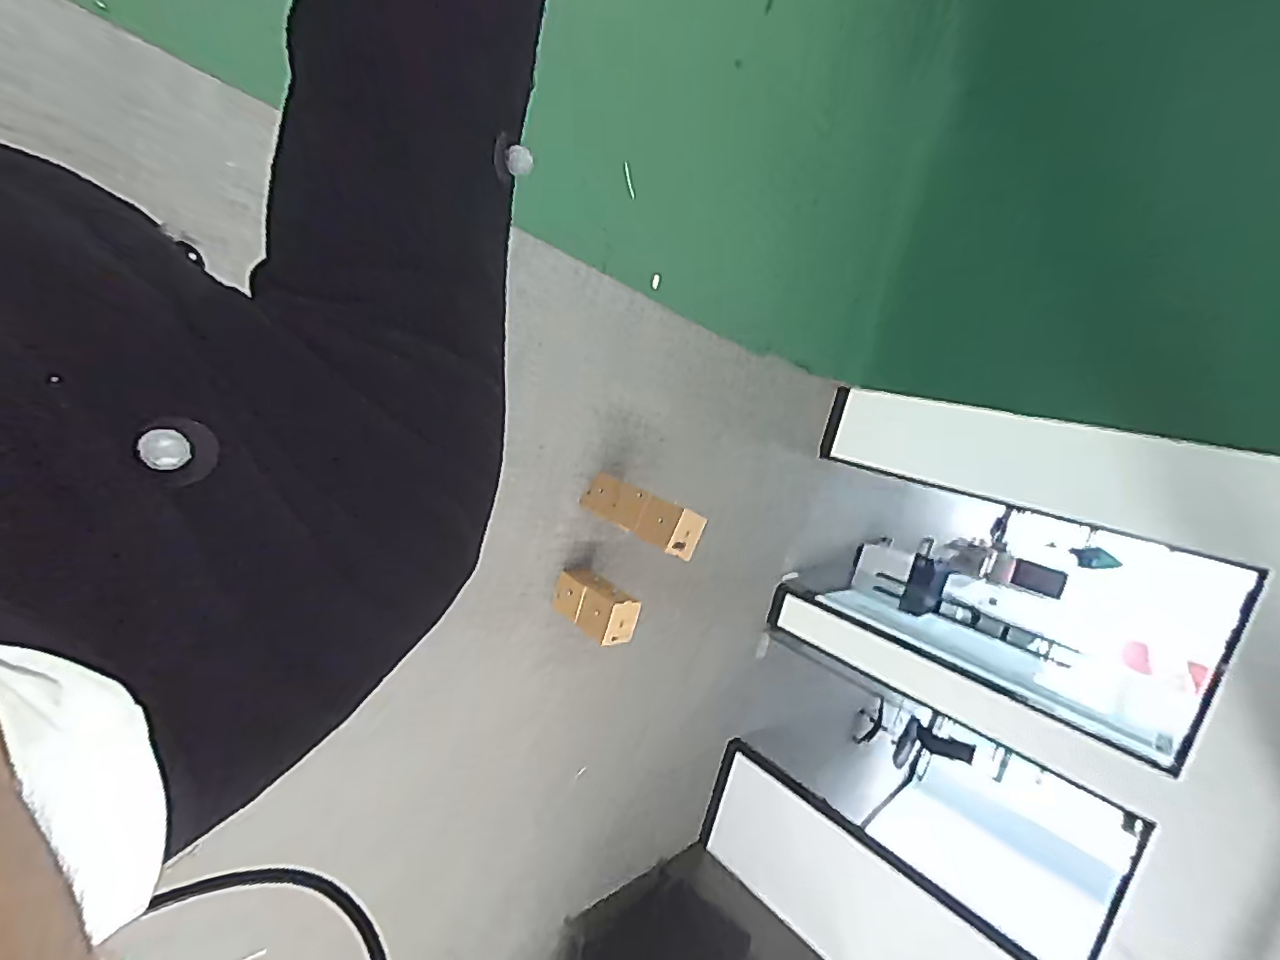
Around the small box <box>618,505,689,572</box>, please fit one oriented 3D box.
[{"bbox_3d":[0.044,0.216,2.013,0.168,0.176,0.179,32,82,-49],"label":"small box"}]

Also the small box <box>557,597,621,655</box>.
[{"bbox_3d":[-0.206,0.573,2.153,0.168,0.176,0.179,13,96,-49],"label":"small box"}]

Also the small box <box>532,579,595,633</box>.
[{"bbox_3d":[-0.323,0.521,2.257,0.179,0.176,0.168,10,99,-49],"label":"small box"}]
